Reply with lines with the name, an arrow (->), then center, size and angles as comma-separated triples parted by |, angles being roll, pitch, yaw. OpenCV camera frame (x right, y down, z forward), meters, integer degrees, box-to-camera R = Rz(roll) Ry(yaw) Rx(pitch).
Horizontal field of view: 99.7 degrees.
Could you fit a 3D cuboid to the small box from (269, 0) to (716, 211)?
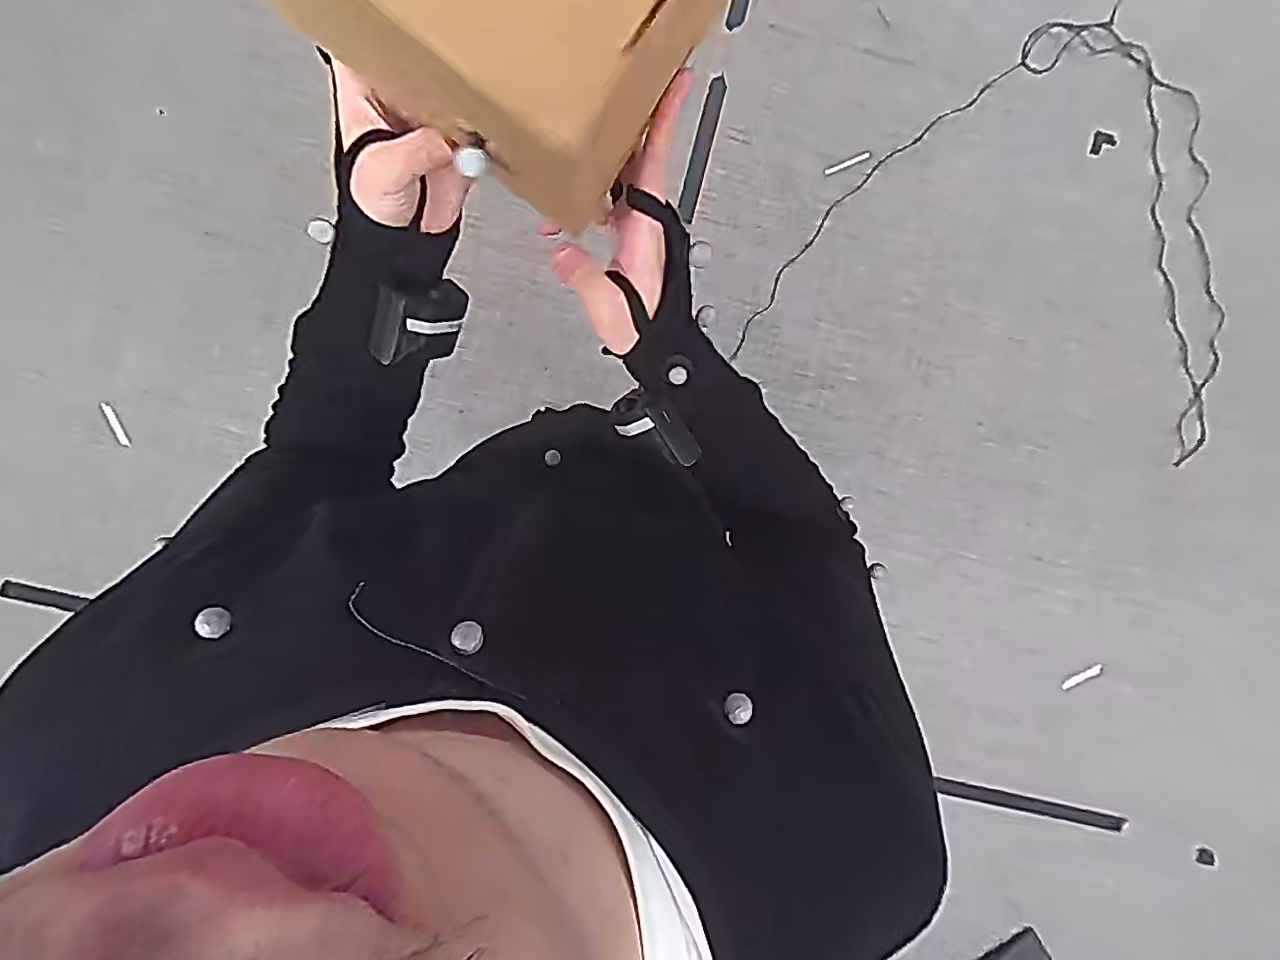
small box -> -0.054, -0.235, 0.214 | 0.179, 0.176, 0.168 | 31, 99, -13
